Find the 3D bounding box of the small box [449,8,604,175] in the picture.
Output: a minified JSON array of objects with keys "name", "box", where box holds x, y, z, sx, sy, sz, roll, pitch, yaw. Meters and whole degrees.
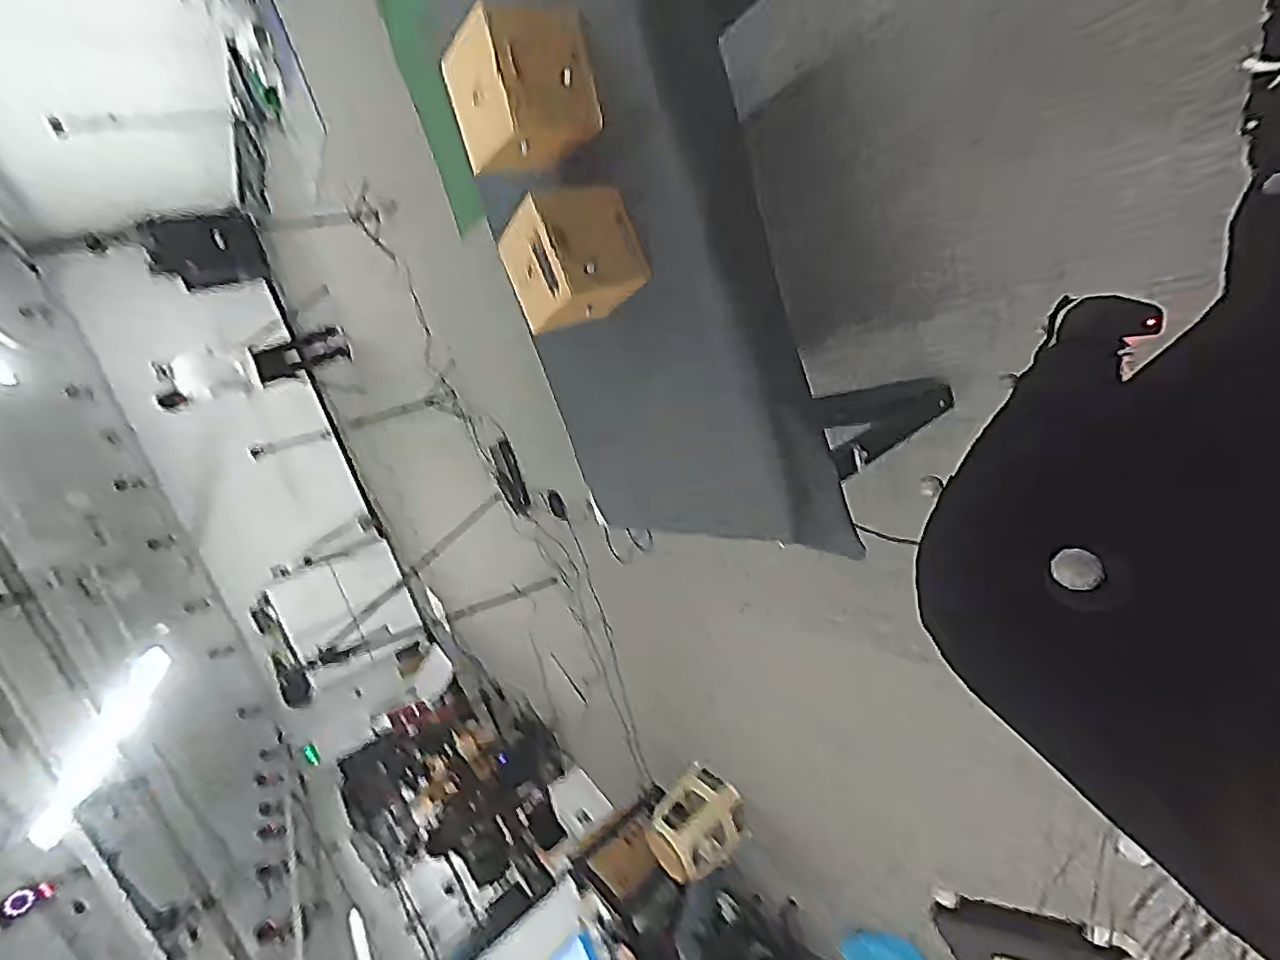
[{"name":"small box","box":[-0.185,-0.623,0.892,0.179,0.176,0.168,6,115,53]}]
